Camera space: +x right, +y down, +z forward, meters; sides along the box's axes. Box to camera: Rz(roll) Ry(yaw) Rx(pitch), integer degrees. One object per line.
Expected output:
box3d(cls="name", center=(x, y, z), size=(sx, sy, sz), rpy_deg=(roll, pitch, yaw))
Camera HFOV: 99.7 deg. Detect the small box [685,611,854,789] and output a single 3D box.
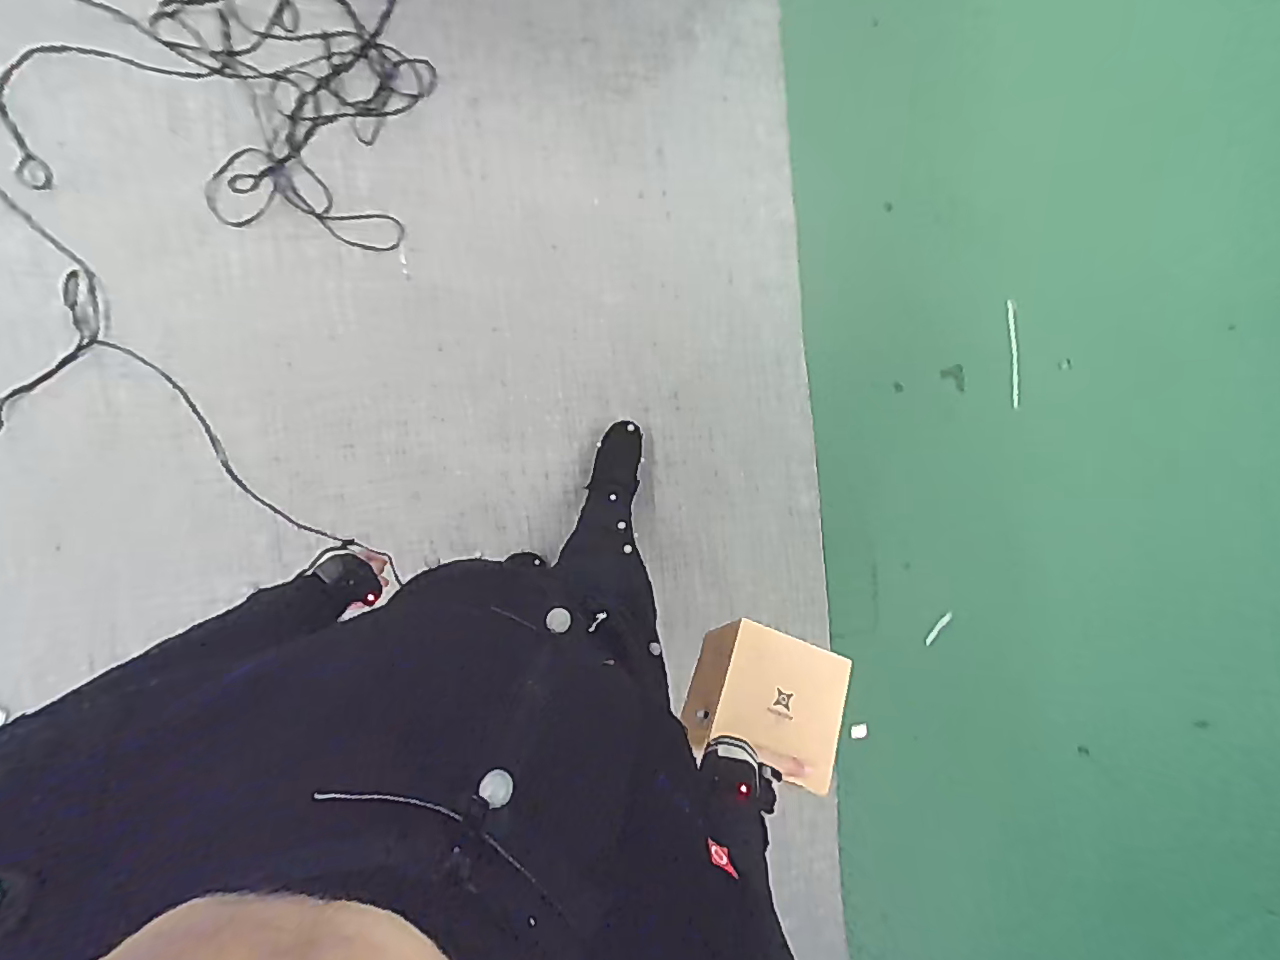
box3d(cls="small box", center=(0.176, 0.308, 0.774), size=(0.168, 0.176, 0.179), rpy_deg=(22, 67, -2))
